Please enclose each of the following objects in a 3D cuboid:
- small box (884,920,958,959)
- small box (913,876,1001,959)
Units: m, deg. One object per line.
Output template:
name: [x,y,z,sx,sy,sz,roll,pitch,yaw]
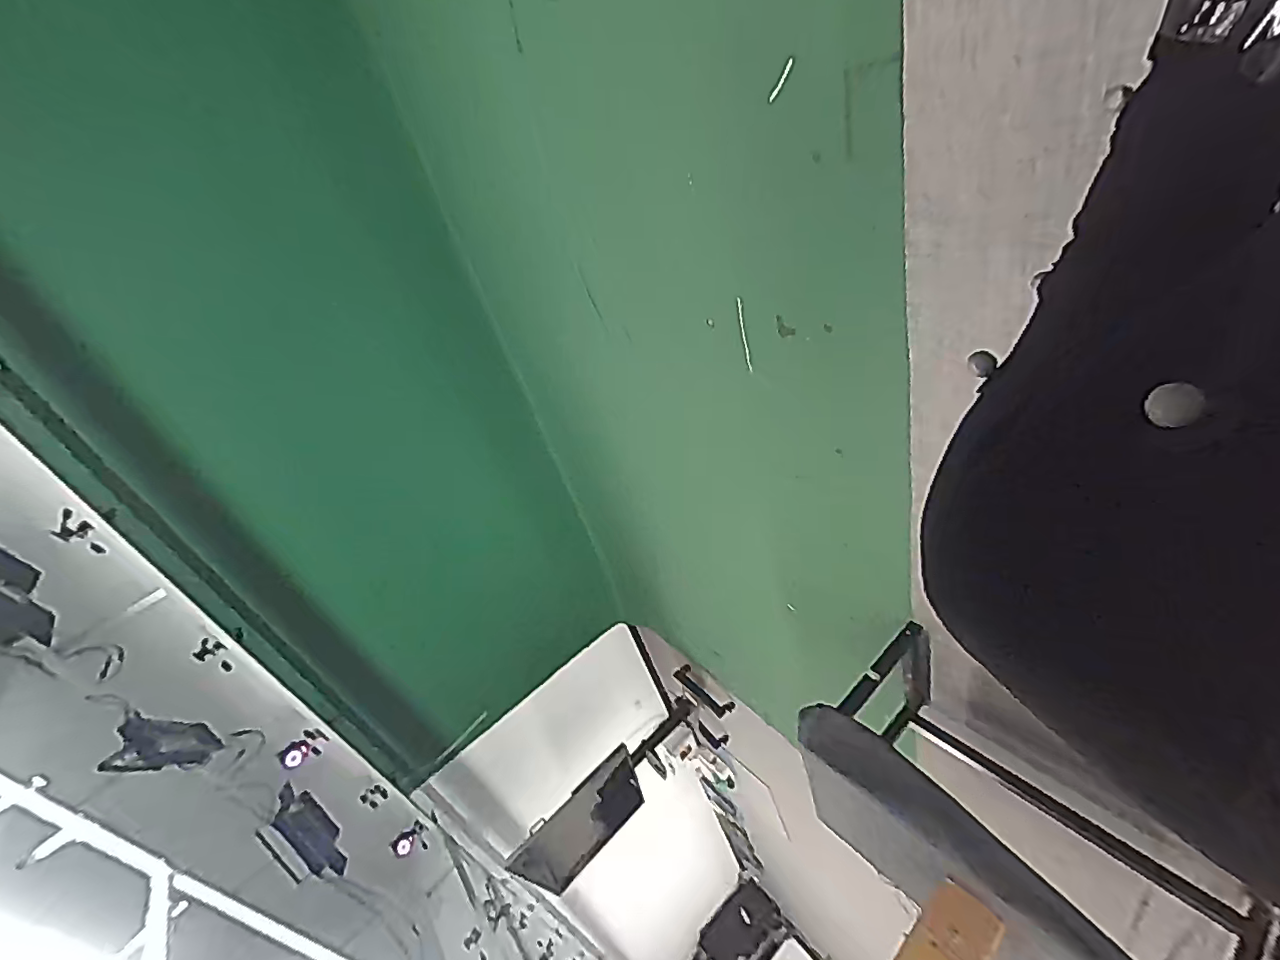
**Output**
small box: [0.821,1.430,1.554,0.168,0.176,0.179,27,143,49]
small box: [0.943,1.344,1.615,0.179,0.176,0.168,28,144,48]
